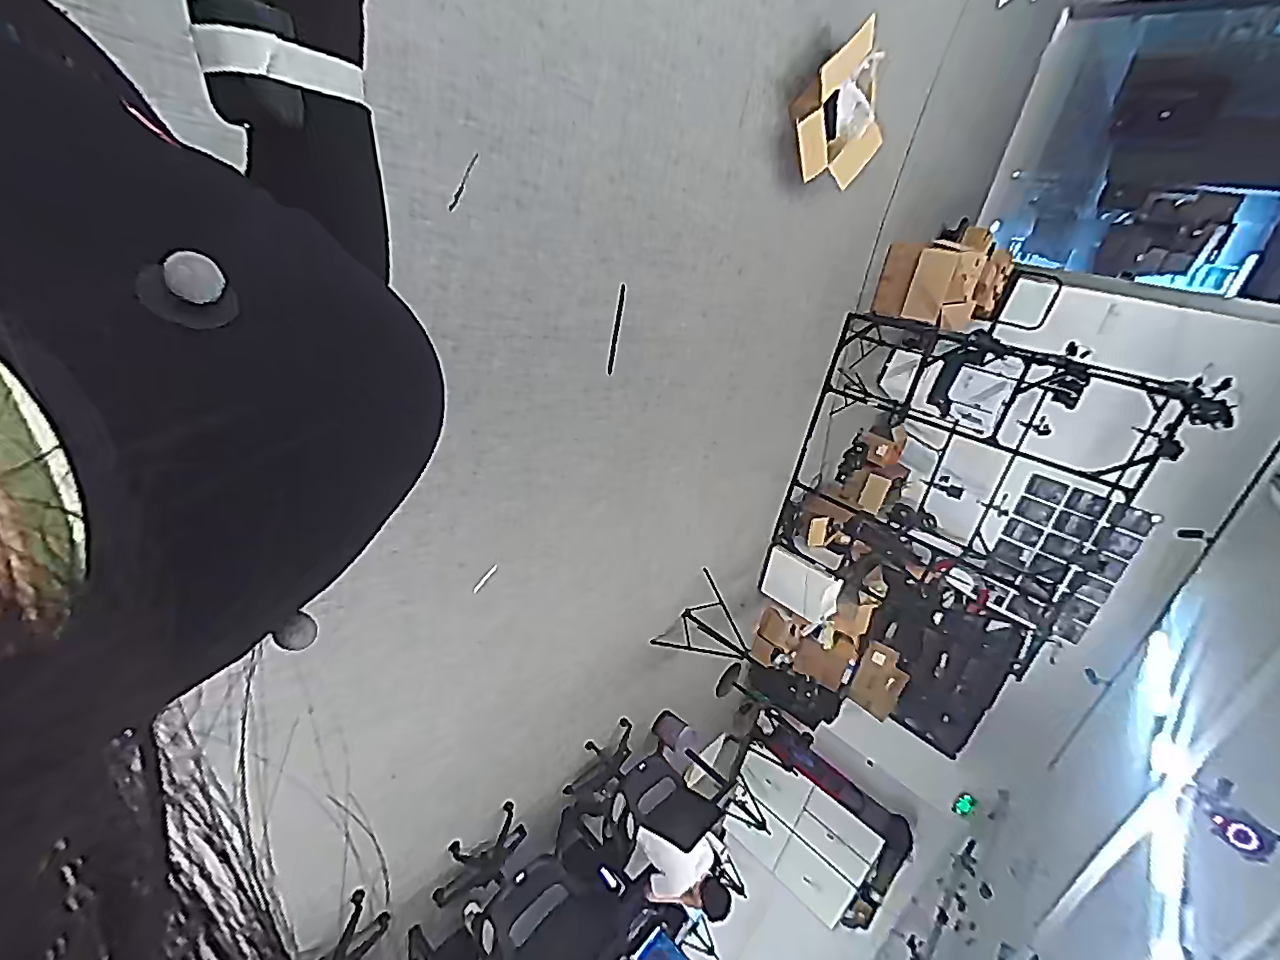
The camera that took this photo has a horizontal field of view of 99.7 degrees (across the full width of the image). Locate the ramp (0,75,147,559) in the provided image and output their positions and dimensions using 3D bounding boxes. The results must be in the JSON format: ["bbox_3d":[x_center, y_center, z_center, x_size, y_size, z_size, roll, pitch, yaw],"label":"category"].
[{"bbox_3d":[-1.296,-0.228,1.010,0.509,0.206,0.991,-18,128,-47],"label":"ramp"}]
